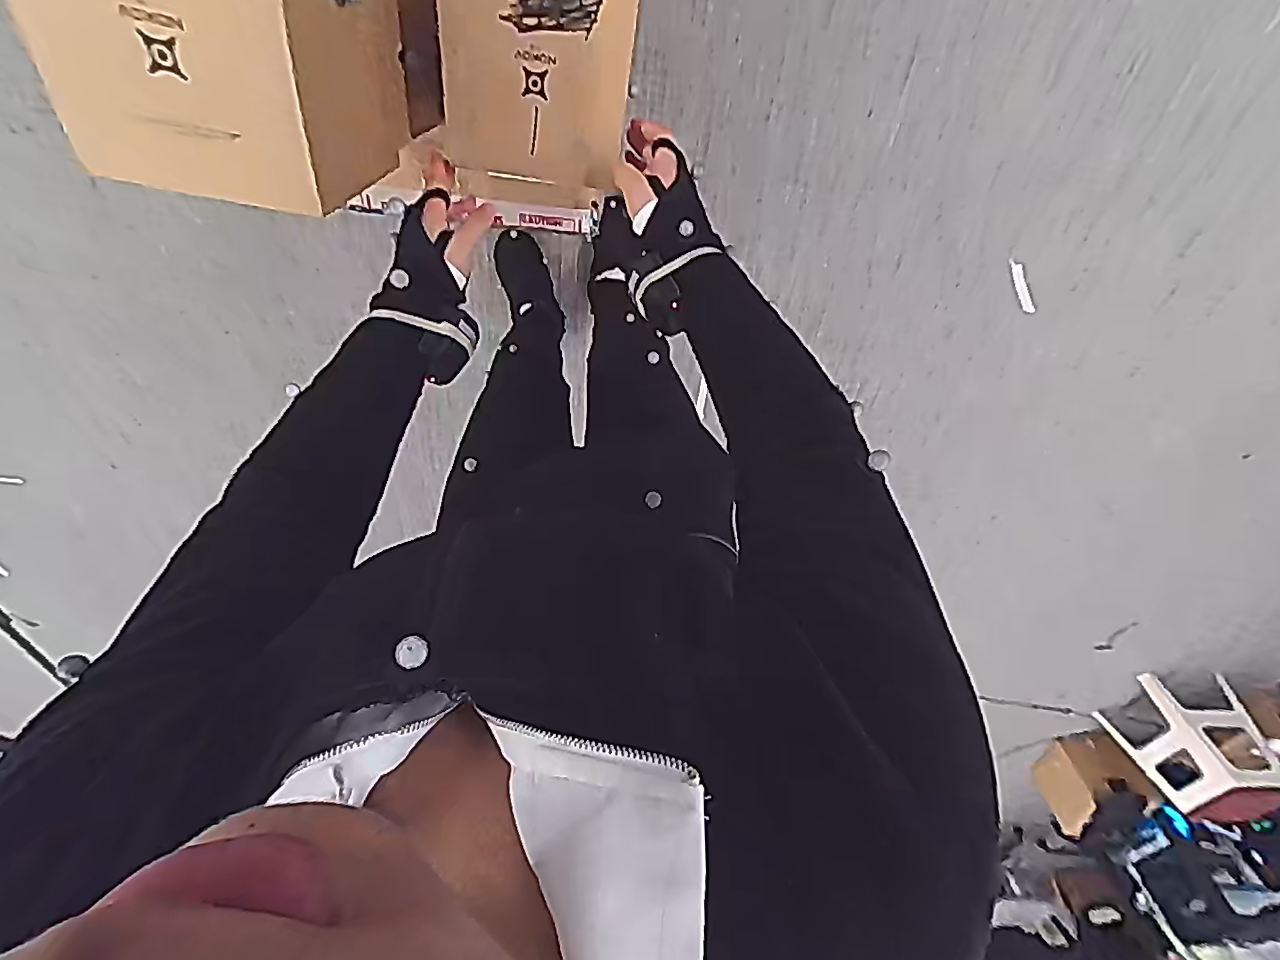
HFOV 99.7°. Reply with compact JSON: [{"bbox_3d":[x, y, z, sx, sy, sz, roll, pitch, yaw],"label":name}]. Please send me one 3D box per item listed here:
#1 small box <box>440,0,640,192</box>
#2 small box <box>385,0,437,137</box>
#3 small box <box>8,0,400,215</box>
[{"bbox_3d":[-0.095,-0.415,0.538,0.168,0.176,0.179,5,131,-8],"label":"small box"},{"bbox_3d":[-0.302,-0.438,0.512,0.168,0.176,0.179,8,131,-6],"label":"small box"},{"bbox_3d":[-0.294,-0.324,0.395,0.168,0.176,0.179,9,132,-5],"label":"small box"}]
